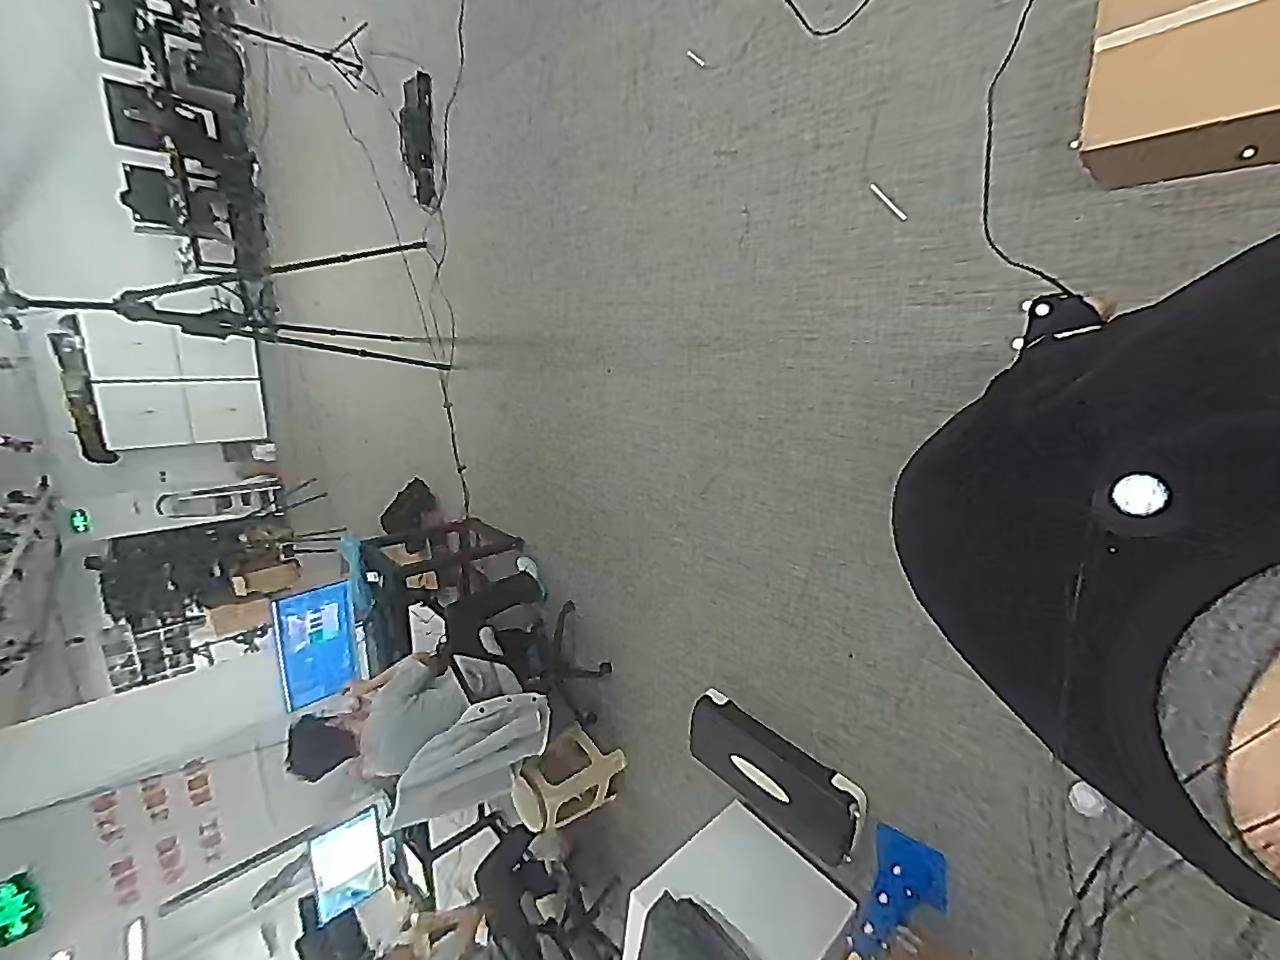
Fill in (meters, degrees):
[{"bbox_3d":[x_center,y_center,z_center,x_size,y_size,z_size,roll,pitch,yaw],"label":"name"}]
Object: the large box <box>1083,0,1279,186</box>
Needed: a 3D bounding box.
[{"bbox_3d":[1.001,-0.702,0.849,0.408,0.320,0.320,13,107,46],"label":"large box"}]
